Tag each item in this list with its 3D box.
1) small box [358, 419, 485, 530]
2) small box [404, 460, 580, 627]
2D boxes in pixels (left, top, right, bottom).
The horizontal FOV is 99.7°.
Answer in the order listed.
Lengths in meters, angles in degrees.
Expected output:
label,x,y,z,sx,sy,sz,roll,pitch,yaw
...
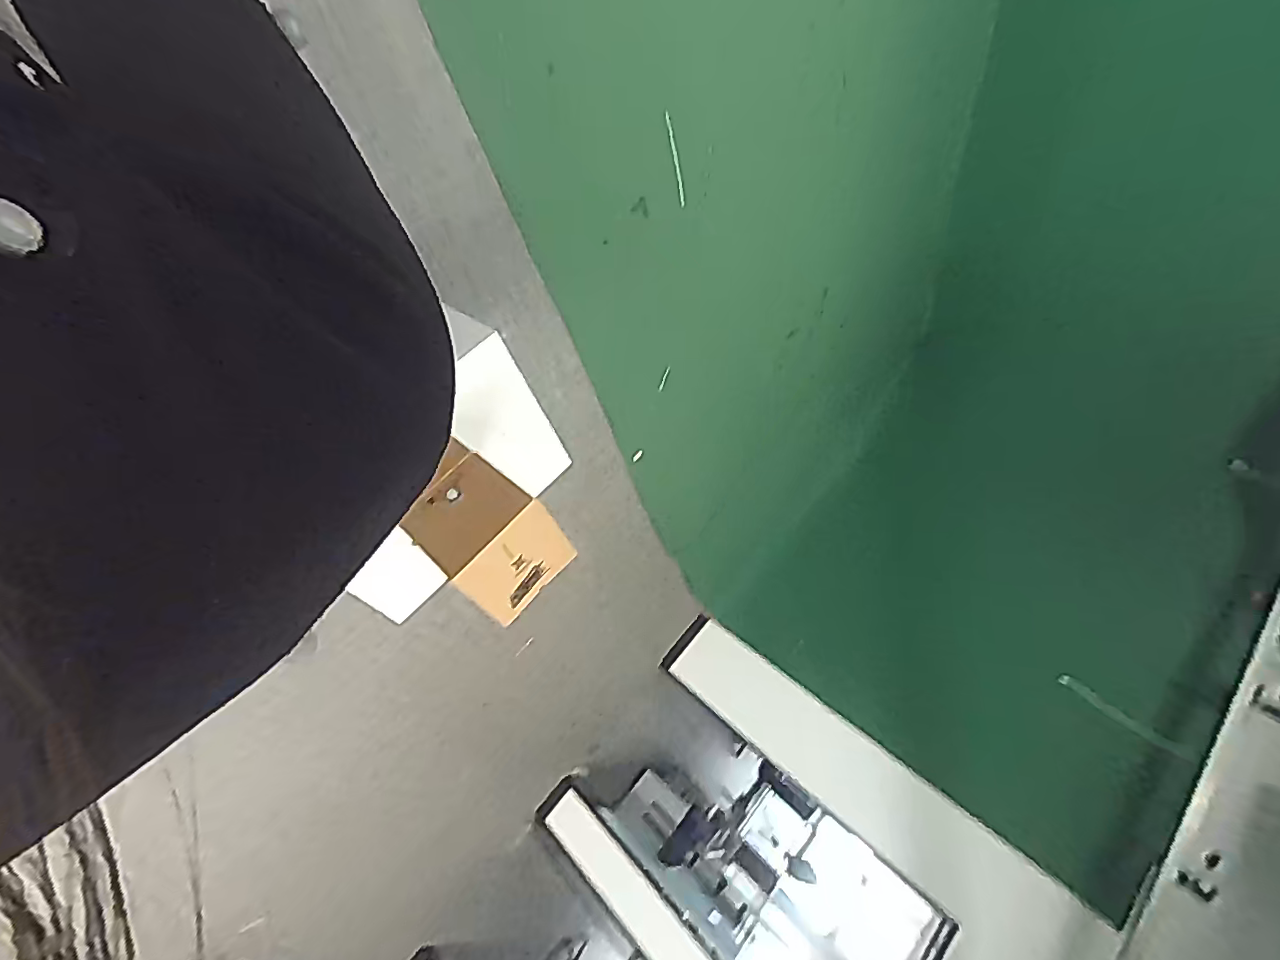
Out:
label,x,y,z,sx,sy,sz,roll,pitch,yaw
small box,-0.347,0.022,0.949,0.168,0.176,0.179,-47,143,-15
small box,-0.231,0.097,0.859,0.168,0.176,0.179,-48,146,-14
